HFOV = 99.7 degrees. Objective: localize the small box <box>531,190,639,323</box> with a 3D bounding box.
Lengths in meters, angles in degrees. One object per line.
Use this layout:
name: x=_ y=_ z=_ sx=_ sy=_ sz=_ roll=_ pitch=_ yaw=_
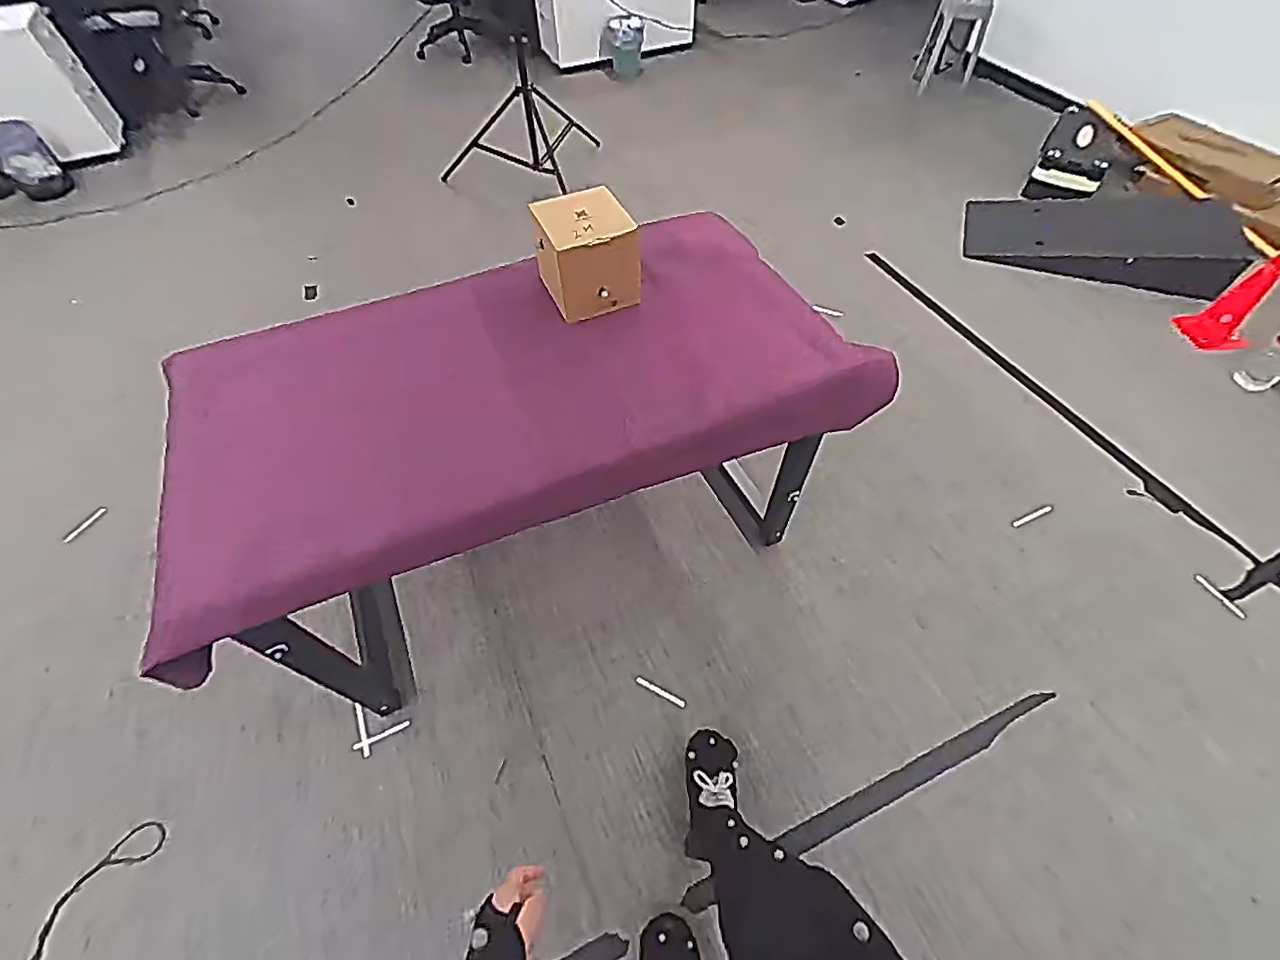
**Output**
small box: x=-0.109 y=-0.453 z=1.101 sx=0.168 sy=0.176 sz=0.179 roll=-21 pitch=59 yaw=-12
